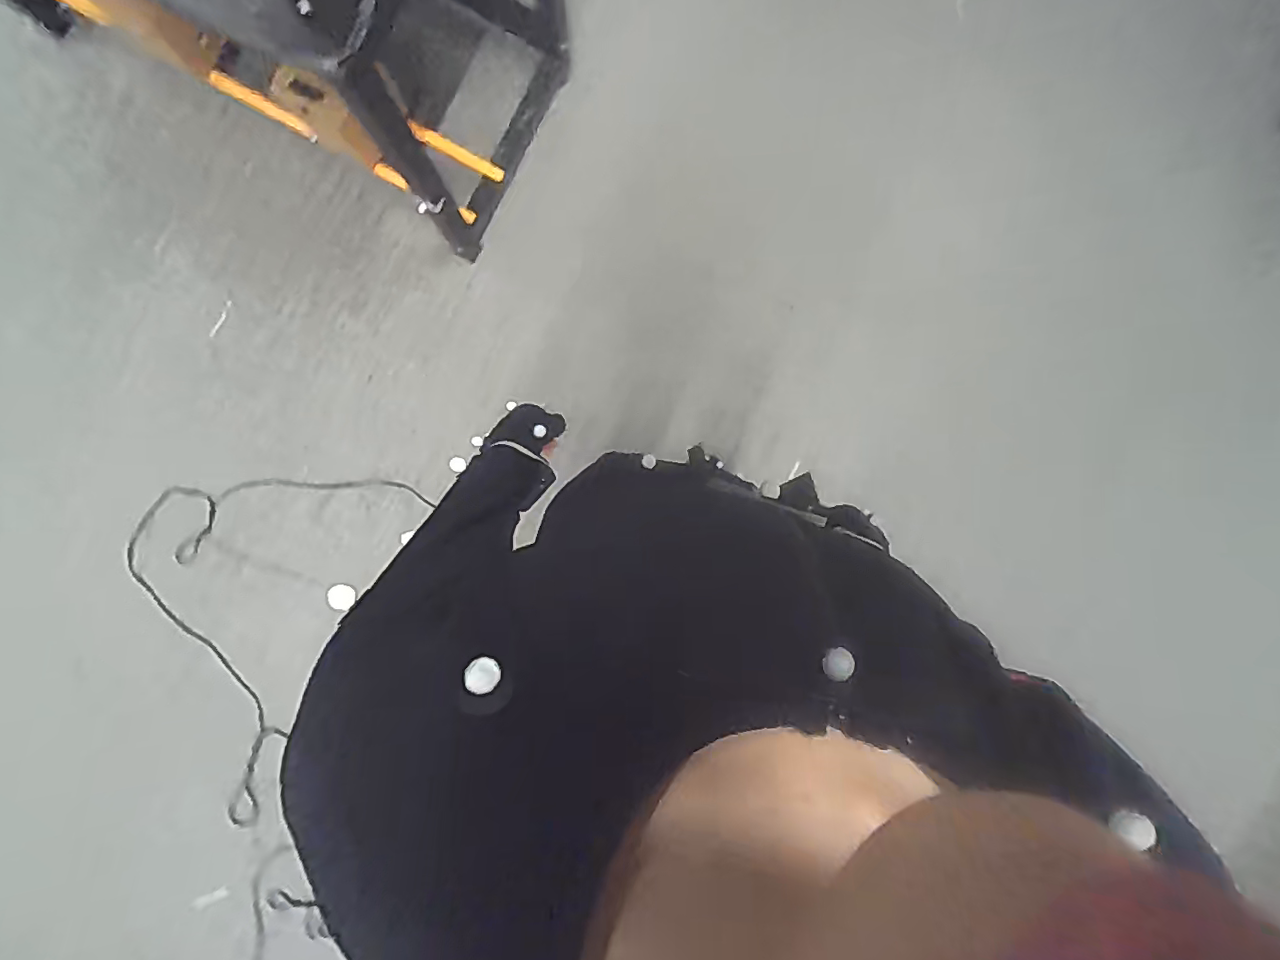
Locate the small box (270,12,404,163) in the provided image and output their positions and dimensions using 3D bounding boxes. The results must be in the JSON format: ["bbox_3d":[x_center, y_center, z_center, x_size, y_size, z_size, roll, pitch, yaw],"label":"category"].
[{"bbox_3d":[-0.659,-0.856,1.202,0.168,0.176,0.179,31,91,-5],"label":"small box"}]
